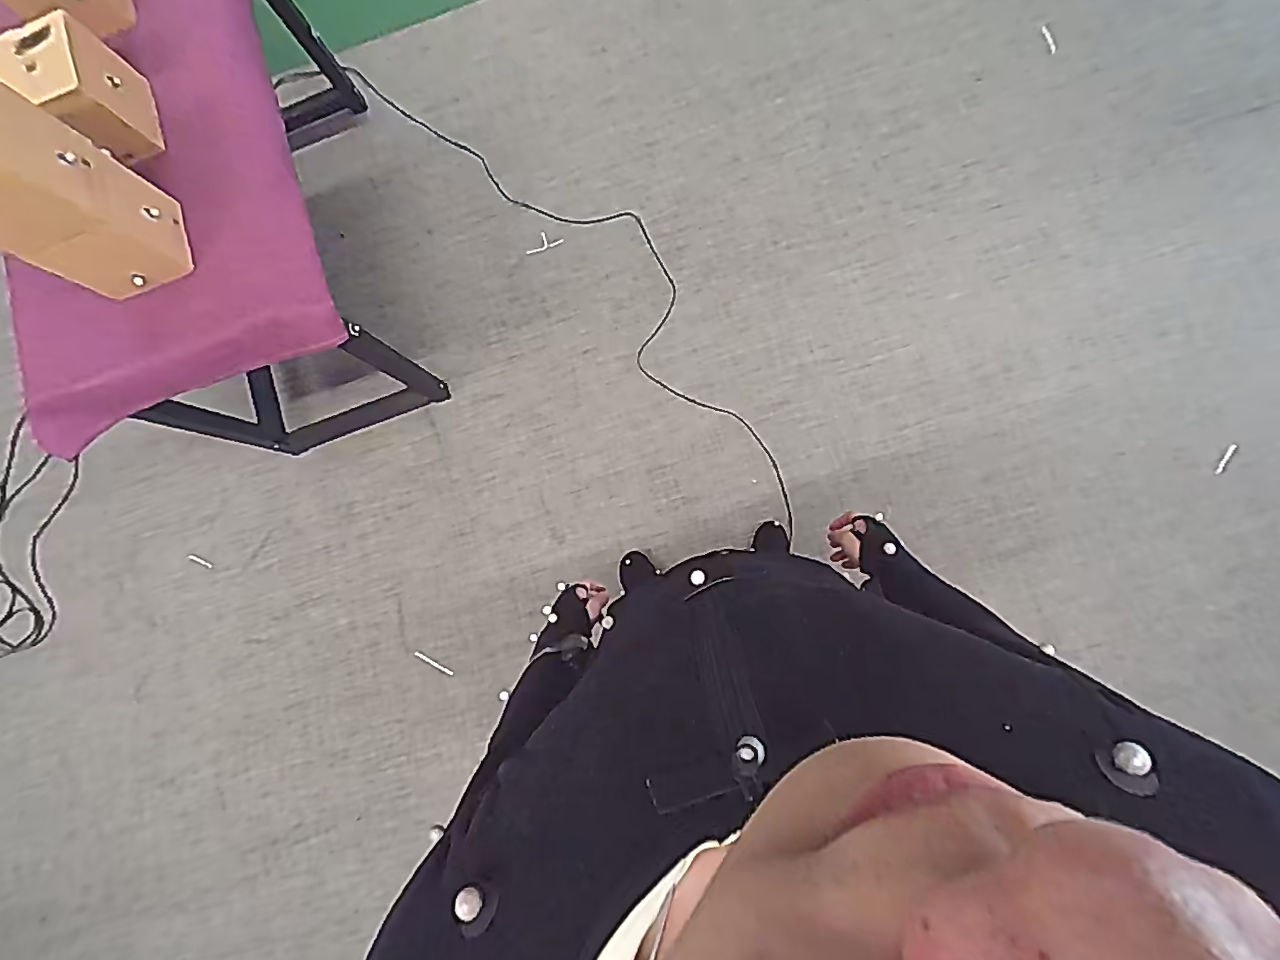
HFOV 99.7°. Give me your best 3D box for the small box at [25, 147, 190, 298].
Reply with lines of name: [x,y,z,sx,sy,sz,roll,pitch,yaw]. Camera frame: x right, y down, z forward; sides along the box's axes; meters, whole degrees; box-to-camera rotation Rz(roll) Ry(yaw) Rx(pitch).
small box: [-1.004,-0.479,1.027,0.179,0.176,0.168,-19,81,2]

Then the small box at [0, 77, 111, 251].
small box: [-1.019,-0.501,0.864,0.179,0.176,0.168,-20,82,2]

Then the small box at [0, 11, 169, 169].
small box: [-1.093,-0.753,1.070,0.168,0.176,0.179,-20,83,3]

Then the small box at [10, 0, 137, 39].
small box: [-1.195,-1.053,1.117,0.179,0.176,0.168,-19,81,4]
